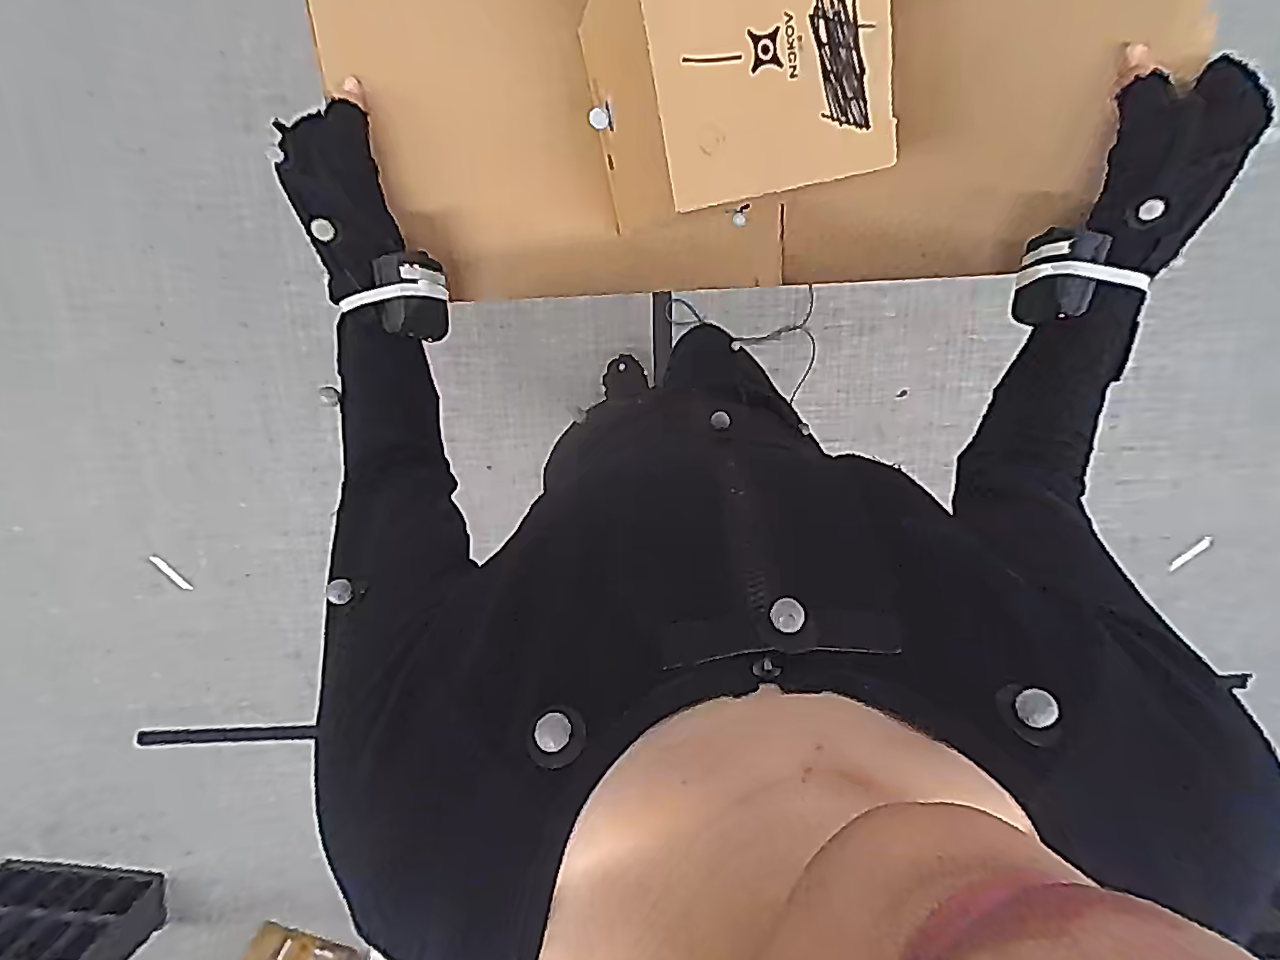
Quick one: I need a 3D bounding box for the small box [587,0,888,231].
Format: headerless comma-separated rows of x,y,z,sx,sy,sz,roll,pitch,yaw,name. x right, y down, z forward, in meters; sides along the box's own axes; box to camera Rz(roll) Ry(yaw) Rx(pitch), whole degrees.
0.069,-0.310,0.434,0.179,0.176,0.168,-16,111,-9,small box
